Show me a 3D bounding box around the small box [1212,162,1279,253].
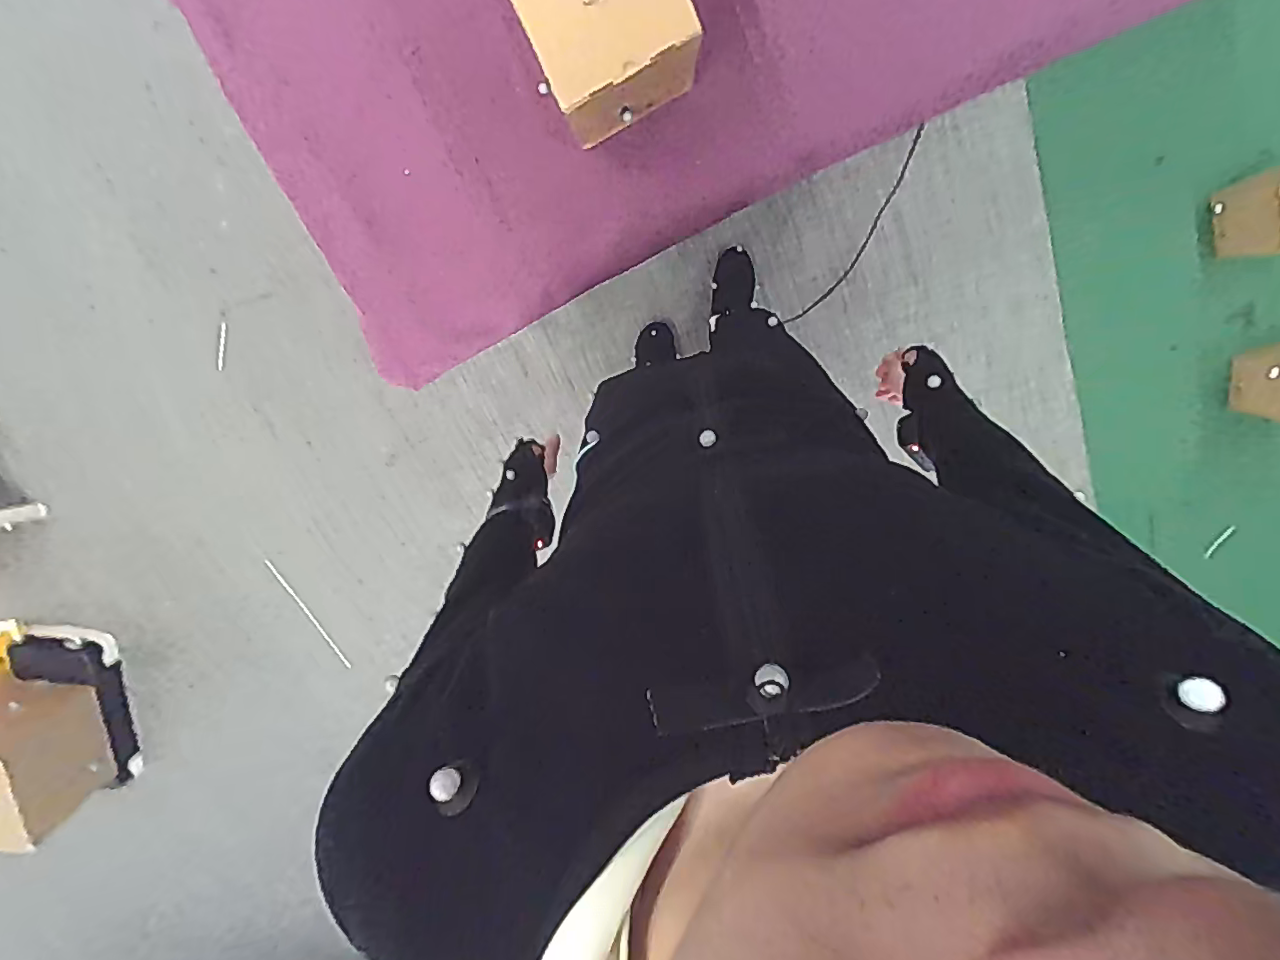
[{"bbox_3d":[1.562,-0.671,1.320,0.179,0.176,0.168,-25,108,9],"label":"small box"}]

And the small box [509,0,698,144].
[{"bbox_3d":[-0.049,-0.531,0.623,0.168,0.176,0.179,-25,108,9],"label":"small box"}]
